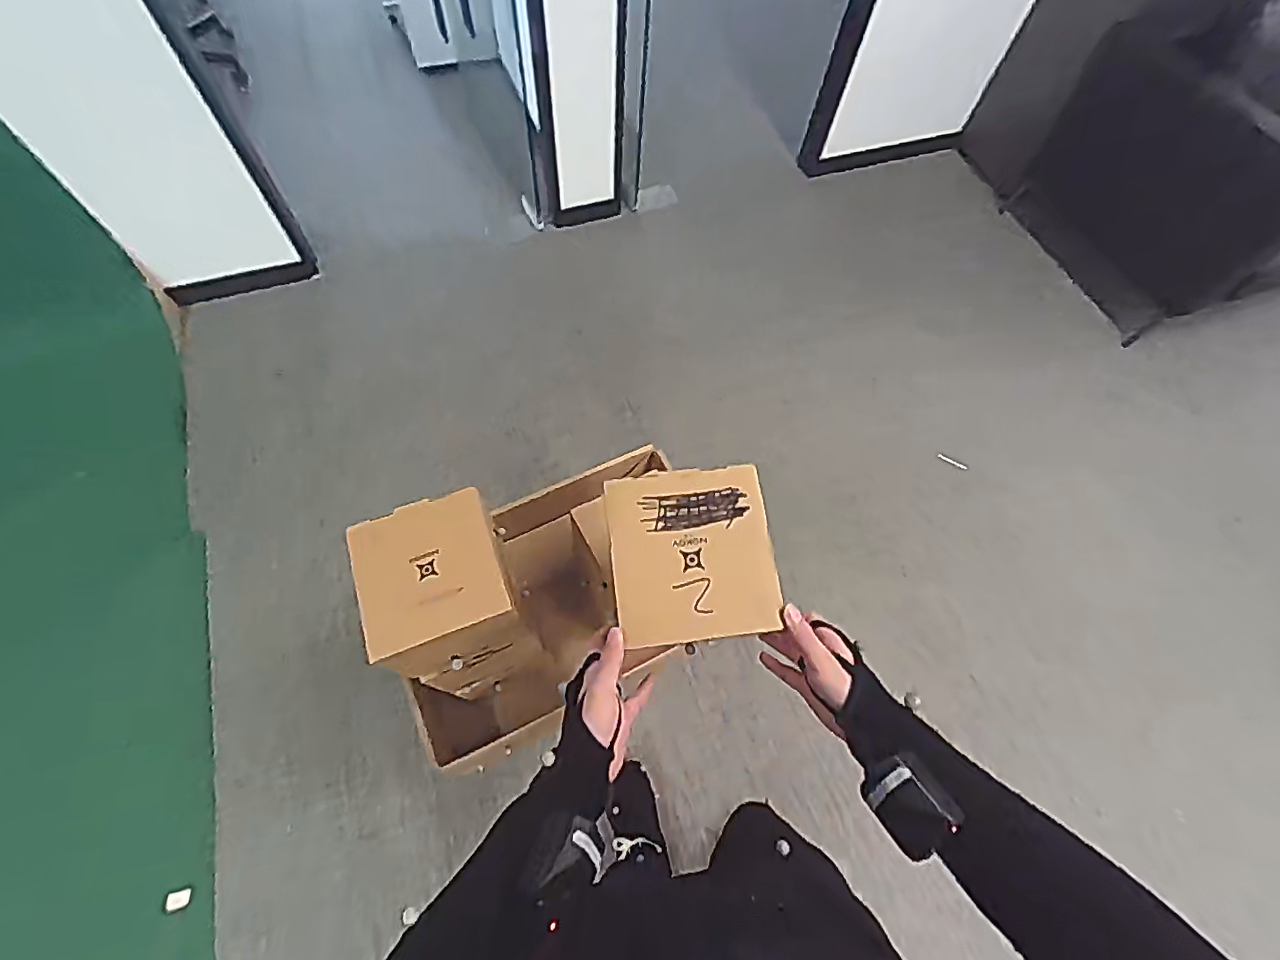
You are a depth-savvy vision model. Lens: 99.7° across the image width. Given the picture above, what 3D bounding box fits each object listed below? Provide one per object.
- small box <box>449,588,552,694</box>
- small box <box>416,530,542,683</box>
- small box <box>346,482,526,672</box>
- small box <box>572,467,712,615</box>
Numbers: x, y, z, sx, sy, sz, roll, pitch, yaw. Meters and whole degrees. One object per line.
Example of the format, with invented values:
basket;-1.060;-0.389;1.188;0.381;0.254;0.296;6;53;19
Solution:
small box;-0.274;0.281;1.002;0.168;0.176;0.179;-23;67;-14
small box;-0.263;0.207;0.856;0.168;0.176;0.179;-19;65;-13
small box;-0.258;0.132;0.711;0.168;0.176;0.179;-18;66;-12
small box;-0.002;0.113;0.918;0.168;0.176;0.179;-25;68;-16
